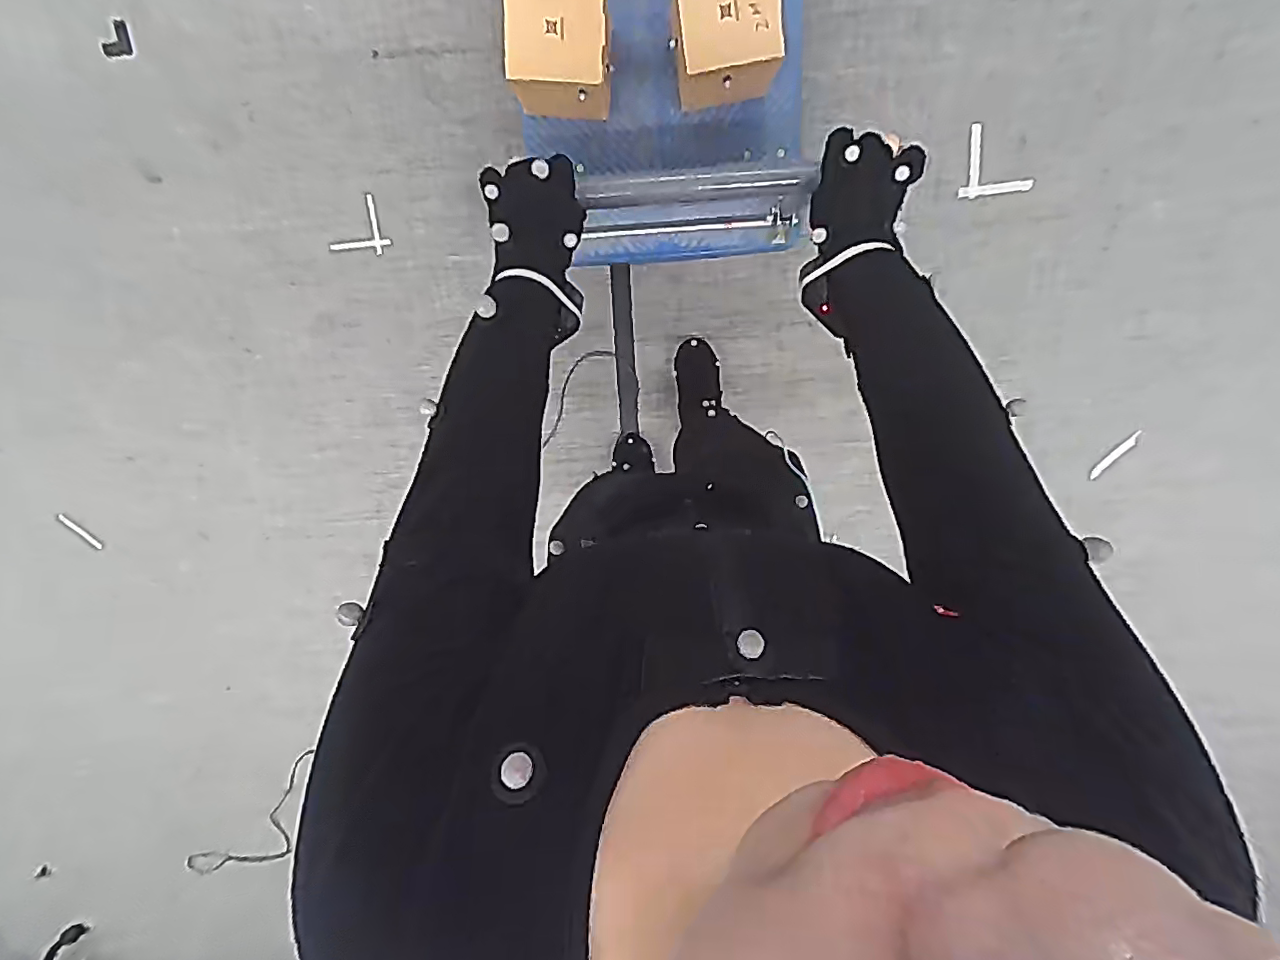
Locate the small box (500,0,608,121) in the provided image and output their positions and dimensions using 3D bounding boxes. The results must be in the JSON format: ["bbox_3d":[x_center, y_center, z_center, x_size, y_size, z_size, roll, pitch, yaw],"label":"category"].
[{"bbox_3d":[-0.153,-0.795,1.009,0.179,0.176,0.168,2,105,-1],"label":"small box"}]

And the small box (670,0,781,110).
[{"bbox_3d":[0.150,-0.816,0.999,0.179,0.176,0.168,-9,106,3],"label":"small box"}]
